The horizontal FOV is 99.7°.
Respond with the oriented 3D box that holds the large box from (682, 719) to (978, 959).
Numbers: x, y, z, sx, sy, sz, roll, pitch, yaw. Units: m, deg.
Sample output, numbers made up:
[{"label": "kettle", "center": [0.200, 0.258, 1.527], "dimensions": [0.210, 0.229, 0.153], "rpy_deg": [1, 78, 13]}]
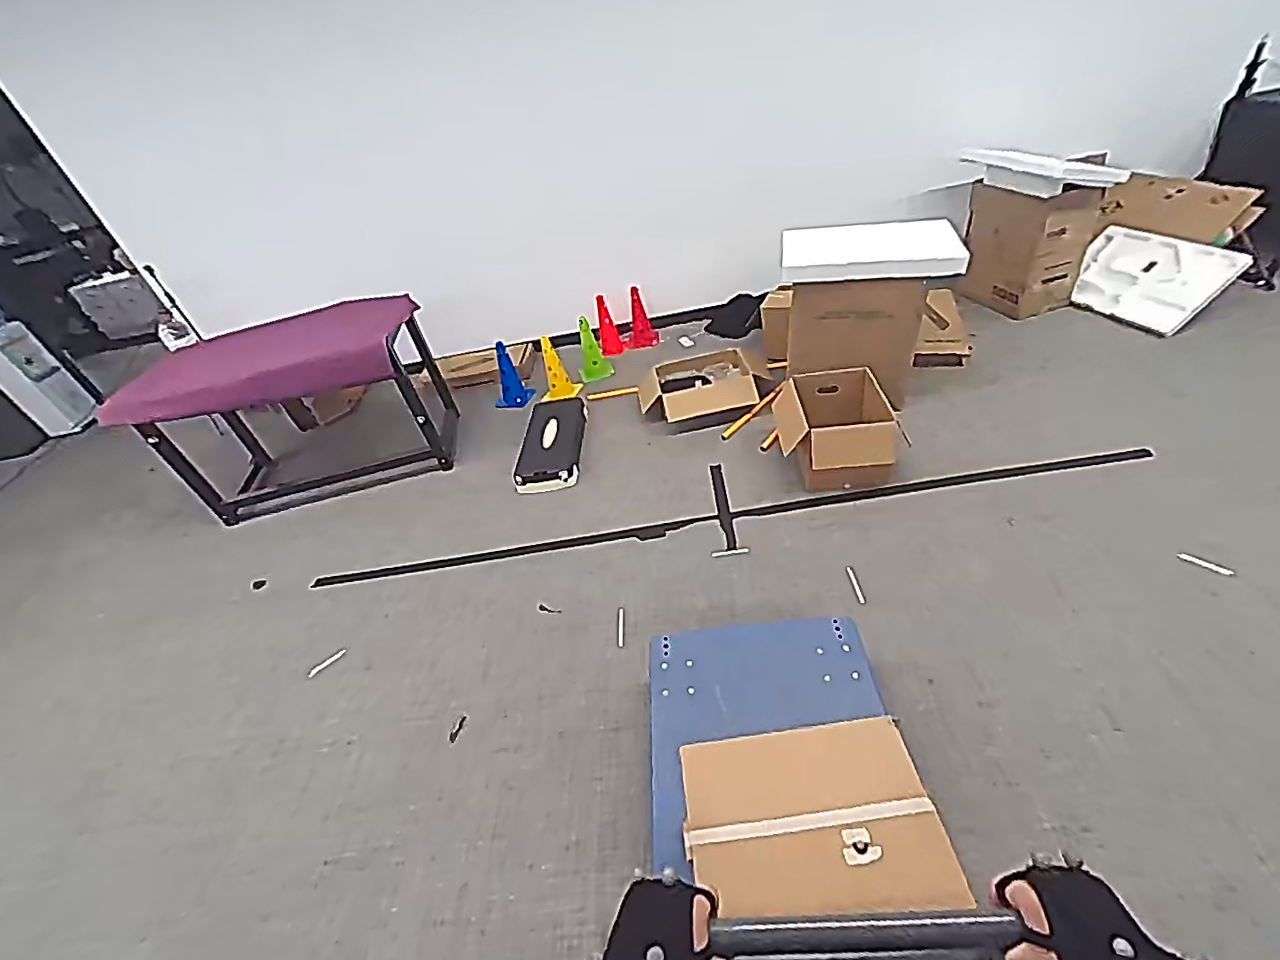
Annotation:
[{"label": "large box", "center": [0.308, 0.691, 0.996], "dimensions": [0.408, 0.320, 0.320], "rpy_deg": [-9, 39, 2]}]
